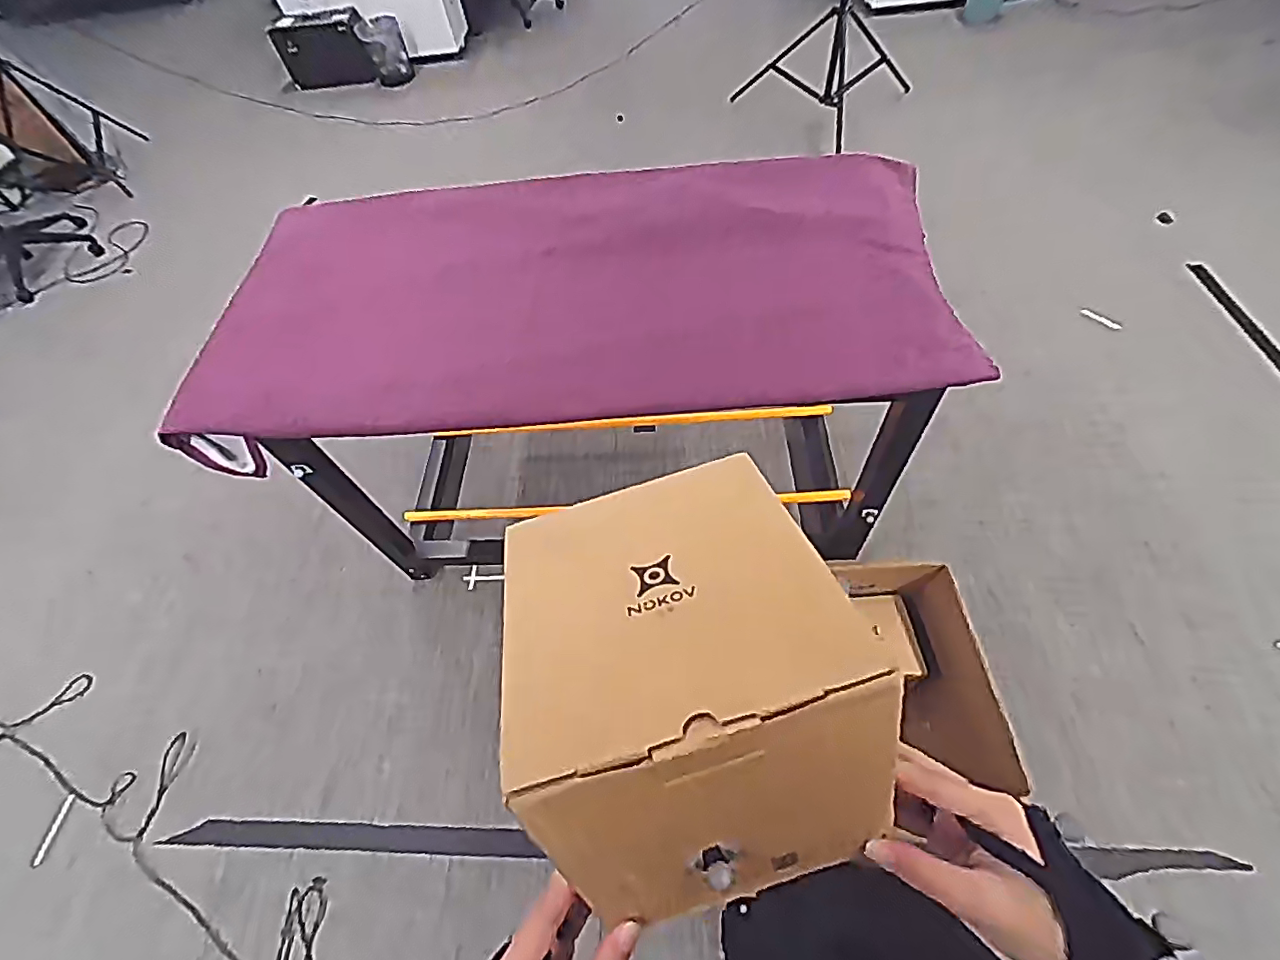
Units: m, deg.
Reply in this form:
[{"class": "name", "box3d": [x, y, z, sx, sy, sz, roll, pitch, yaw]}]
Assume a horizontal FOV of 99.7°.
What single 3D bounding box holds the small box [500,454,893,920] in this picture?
[{"class": "small box", "box3d": [0.026, 0.115, 0.328, 0.168, 0.176, 0.179, -18, 35, -2]}]
